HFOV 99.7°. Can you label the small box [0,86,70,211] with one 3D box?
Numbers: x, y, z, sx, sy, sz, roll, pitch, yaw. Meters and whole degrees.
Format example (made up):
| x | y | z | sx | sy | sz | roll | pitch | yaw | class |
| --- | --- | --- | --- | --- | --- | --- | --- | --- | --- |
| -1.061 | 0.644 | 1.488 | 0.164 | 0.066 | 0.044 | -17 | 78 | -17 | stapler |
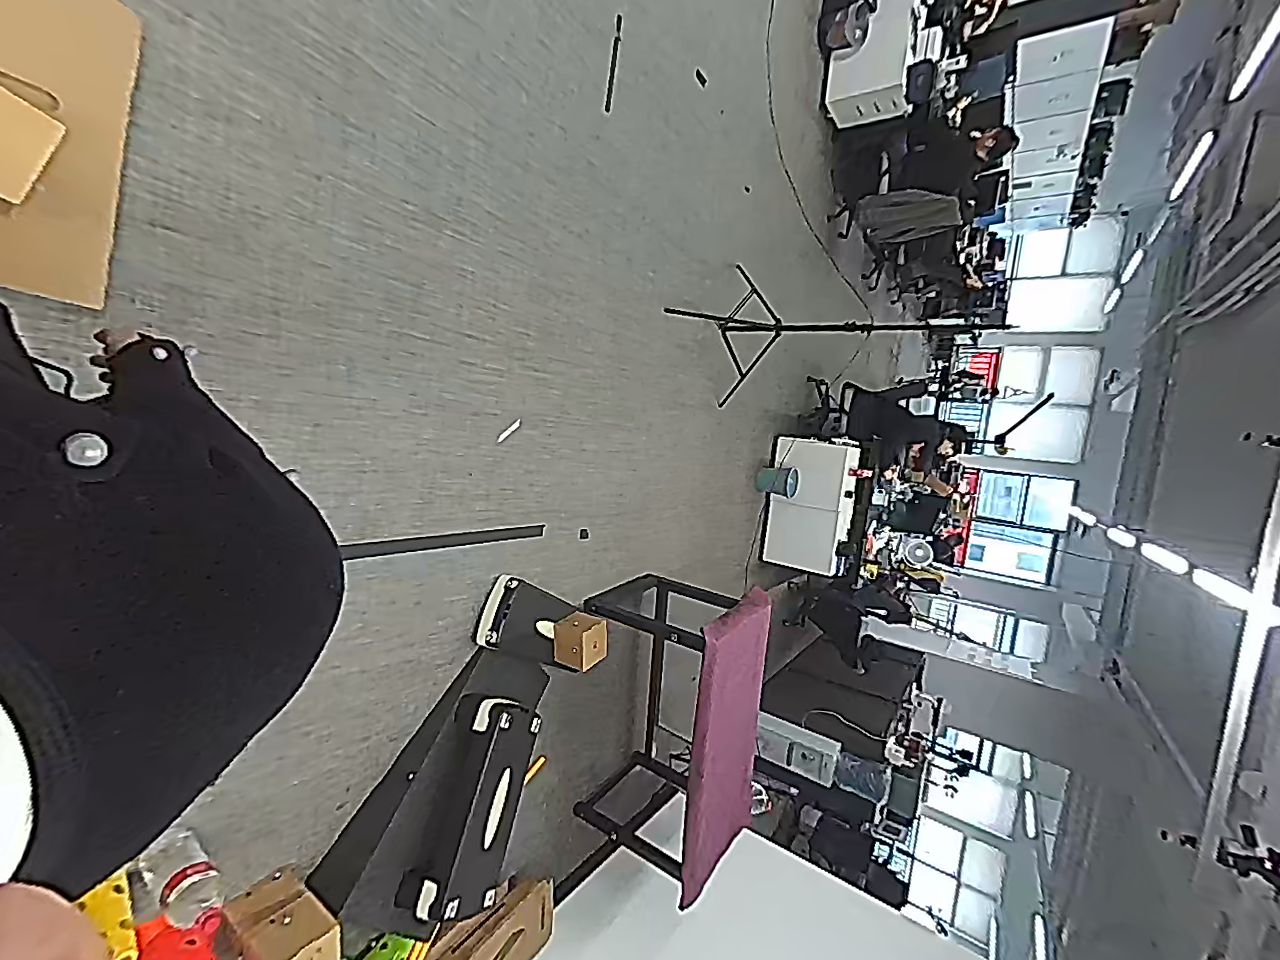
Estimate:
| x | y | z | sx | sy | sz | roll | pitch | yaw | class |
| --- | --- | --- | --- | --- | --- | --- | --- | --- | --- |
| -1.141 | -0.586 | 0.922 | 0.179 | 0.176 | 0.168 | 31 | 74 | -51 | small box |
